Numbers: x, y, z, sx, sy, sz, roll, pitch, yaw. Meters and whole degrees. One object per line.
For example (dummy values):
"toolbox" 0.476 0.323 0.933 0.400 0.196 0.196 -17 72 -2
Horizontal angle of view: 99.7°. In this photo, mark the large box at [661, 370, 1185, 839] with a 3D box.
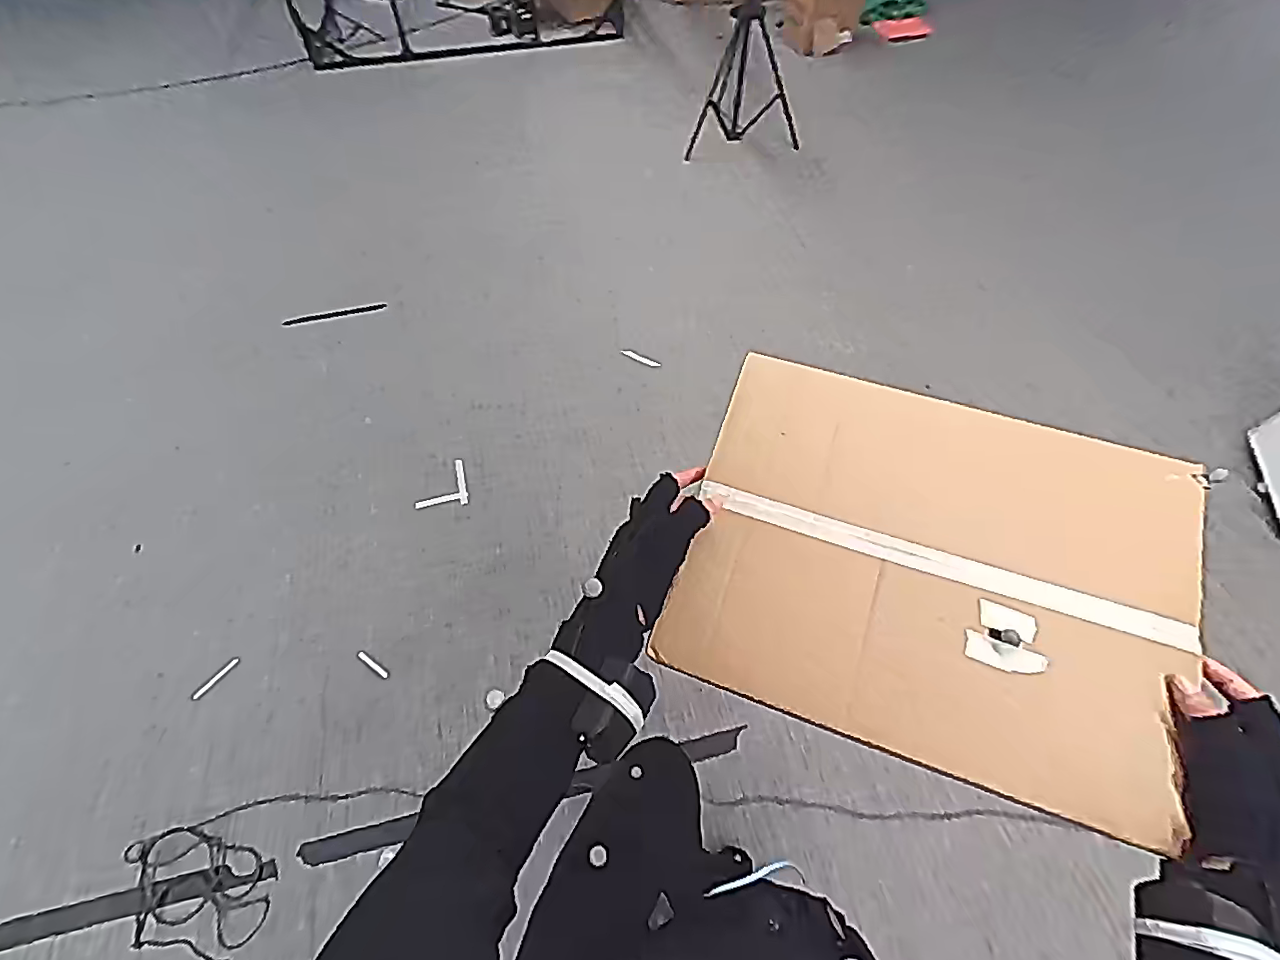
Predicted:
"large box" 0.262 0.125 0.616 0.408 0.320 0.320 17 74 11
